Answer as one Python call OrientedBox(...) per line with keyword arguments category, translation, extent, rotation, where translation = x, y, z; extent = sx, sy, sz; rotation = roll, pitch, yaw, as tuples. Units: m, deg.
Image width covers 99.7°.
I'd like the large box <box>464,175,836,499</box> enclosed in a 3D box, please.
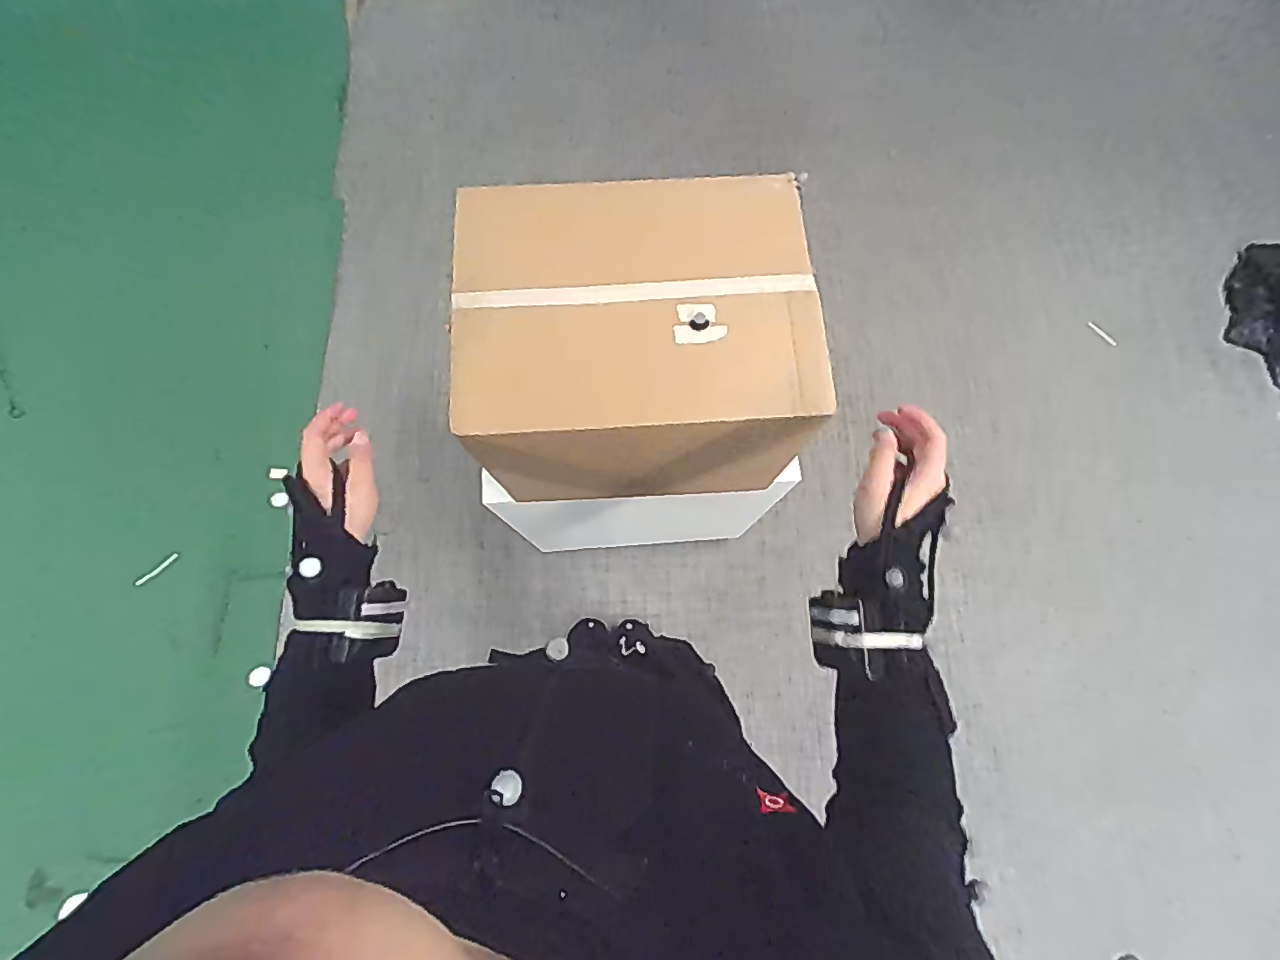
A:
OrientedBox(category="large box", translation=(-0.003, -0.170, 0.750), extent=(0.408, 0.320, 0.320), rotation=(-4, 75, -3))
